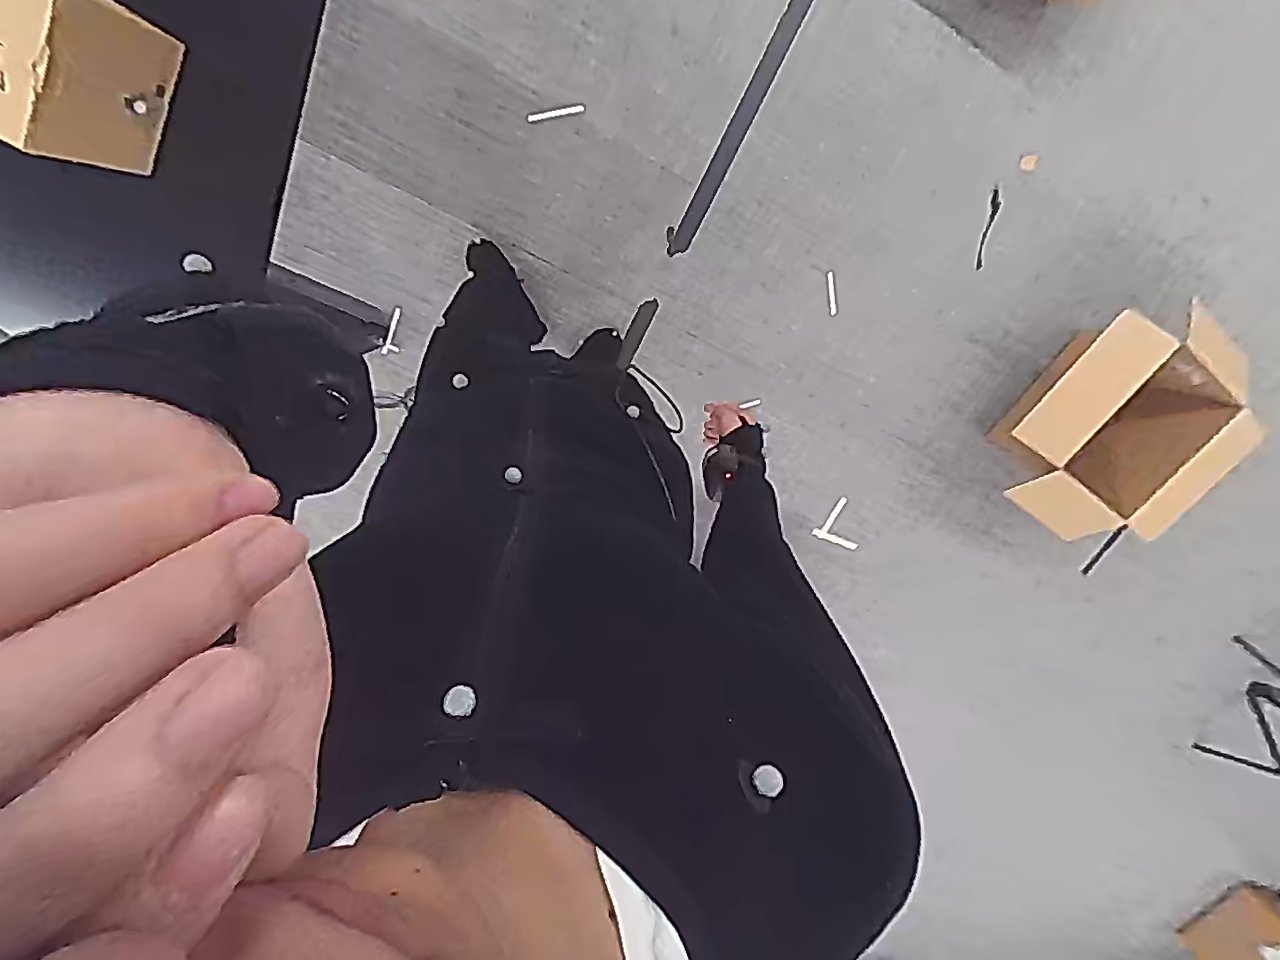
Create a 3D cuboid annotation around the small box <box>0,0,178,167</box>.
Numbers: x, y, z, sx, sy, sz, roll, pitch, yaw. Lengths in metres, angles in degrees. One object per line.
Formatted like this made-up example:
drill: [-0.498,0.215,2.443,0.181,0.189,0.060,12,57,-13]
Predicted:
small box: [-0.659,-0.464,0.574,0.179,0.176,0.168,29,108,-15]
